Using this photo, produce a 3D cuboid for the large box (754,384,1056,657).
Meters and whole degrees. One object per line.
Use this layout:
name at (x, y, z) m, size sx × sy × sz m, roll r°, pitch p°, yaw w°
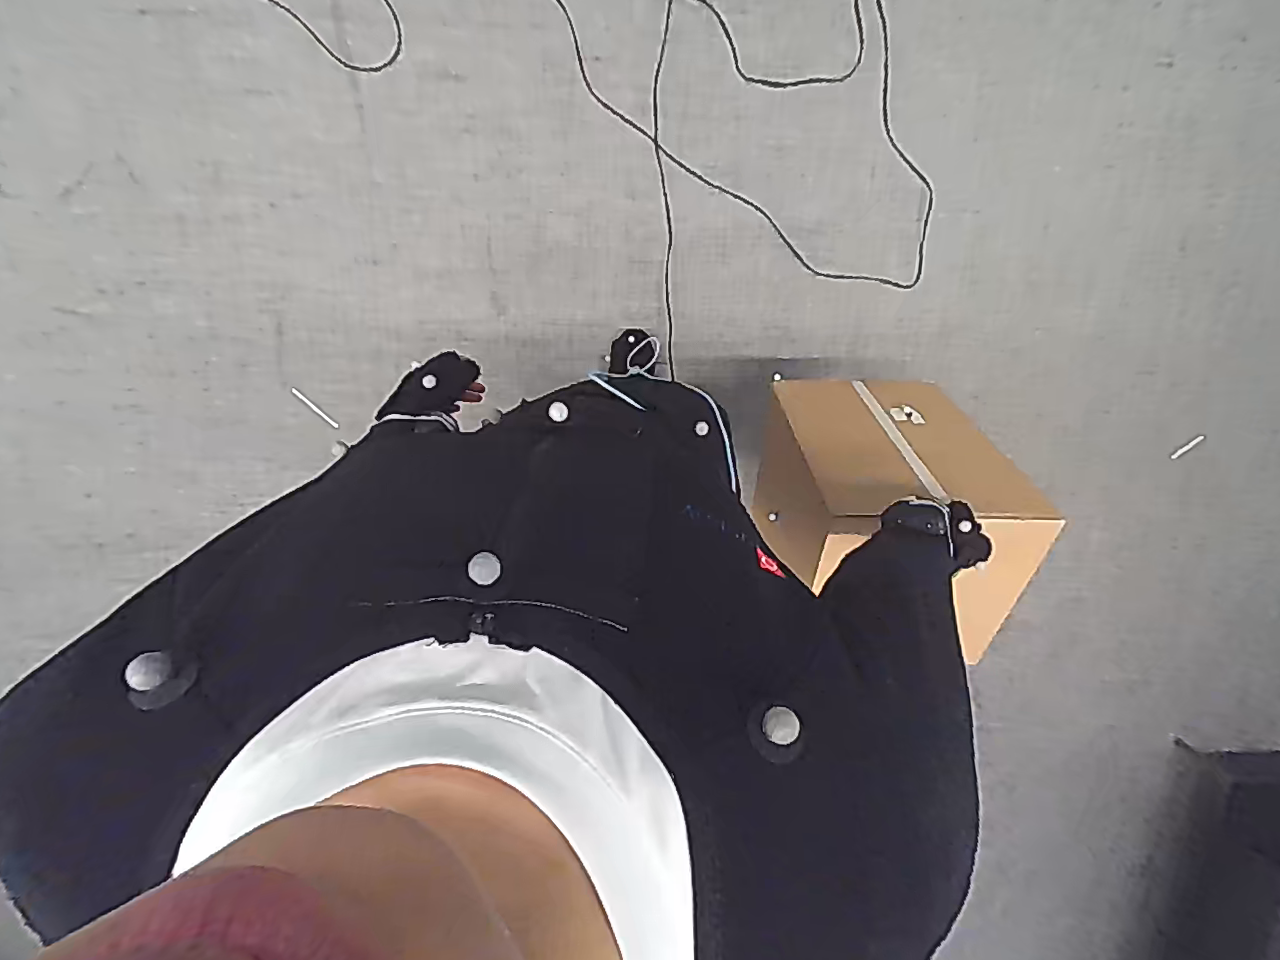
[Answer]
large box at (0.405, 0.058, 0.966) m, size 0.320 × 0.408 × 0.320 m, roll 1°, pitch 125°, yaw -1°
